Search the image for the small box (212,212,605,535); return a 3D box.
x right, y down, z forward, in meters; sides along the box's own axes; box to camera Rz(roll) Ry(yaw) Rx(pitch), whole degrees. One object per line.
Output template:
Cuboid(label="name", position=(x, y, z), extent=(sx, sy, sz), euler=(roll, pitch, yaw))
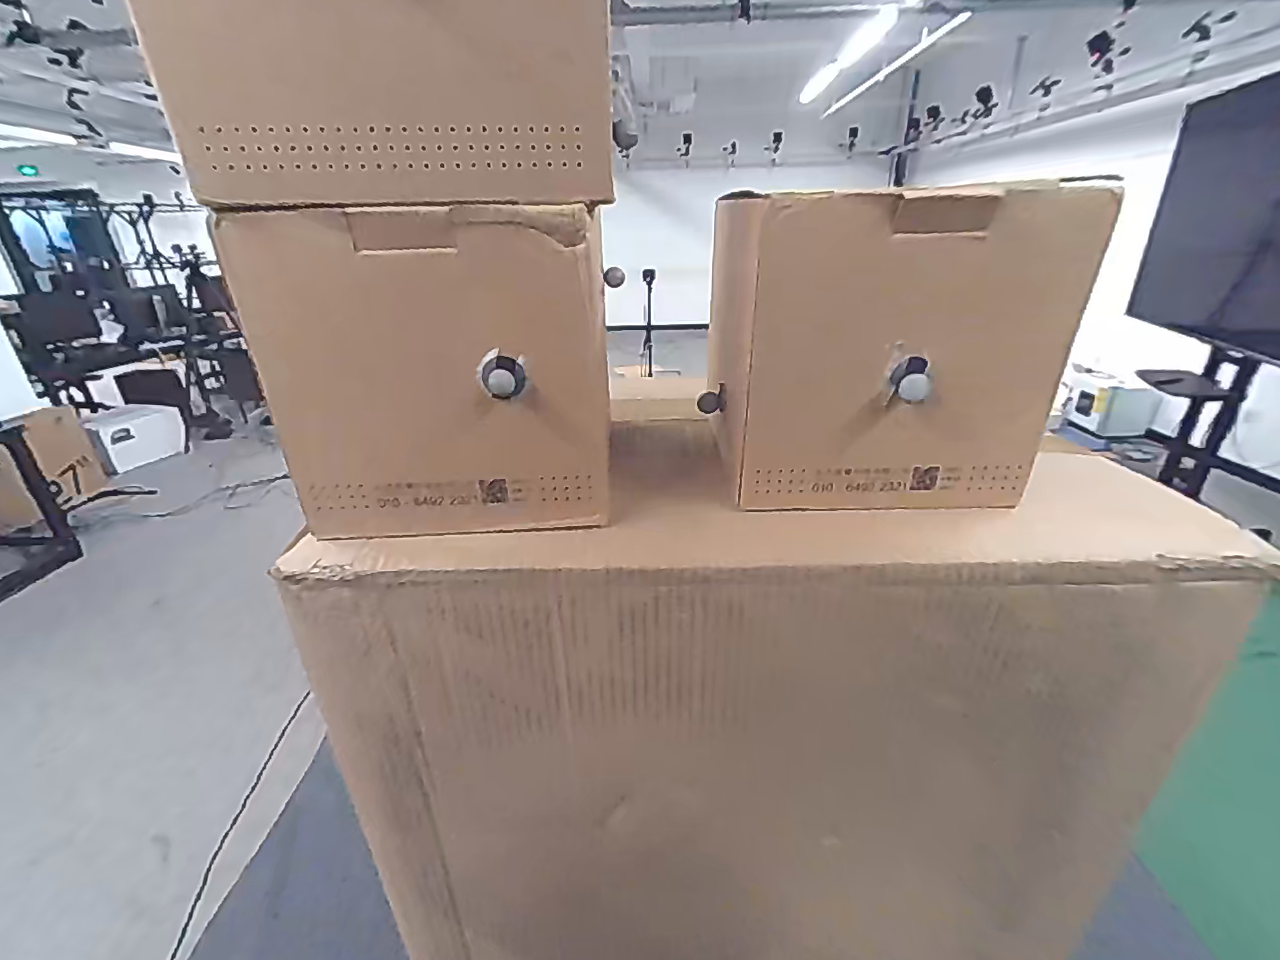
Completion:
Cuboid(label="small box", position=(-0.109, -0.074, 0.347), extent=(0.168, 0.176, 0.179), euler=(-1, 26, -2))

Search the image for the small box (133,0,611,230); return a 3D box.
Cuboid(label="small box", position=(-0.107, -0.218, 0.268), extent=(0.179, 0.176, 0.168), euler=(-4, 28, -9))

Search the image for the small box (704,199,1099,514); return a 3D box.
Cuboid(label="small box", position=(0.134, -0.087, 0.359), extent=(0.168, 0.176, 0.179), euler=(0, 27, 1))
